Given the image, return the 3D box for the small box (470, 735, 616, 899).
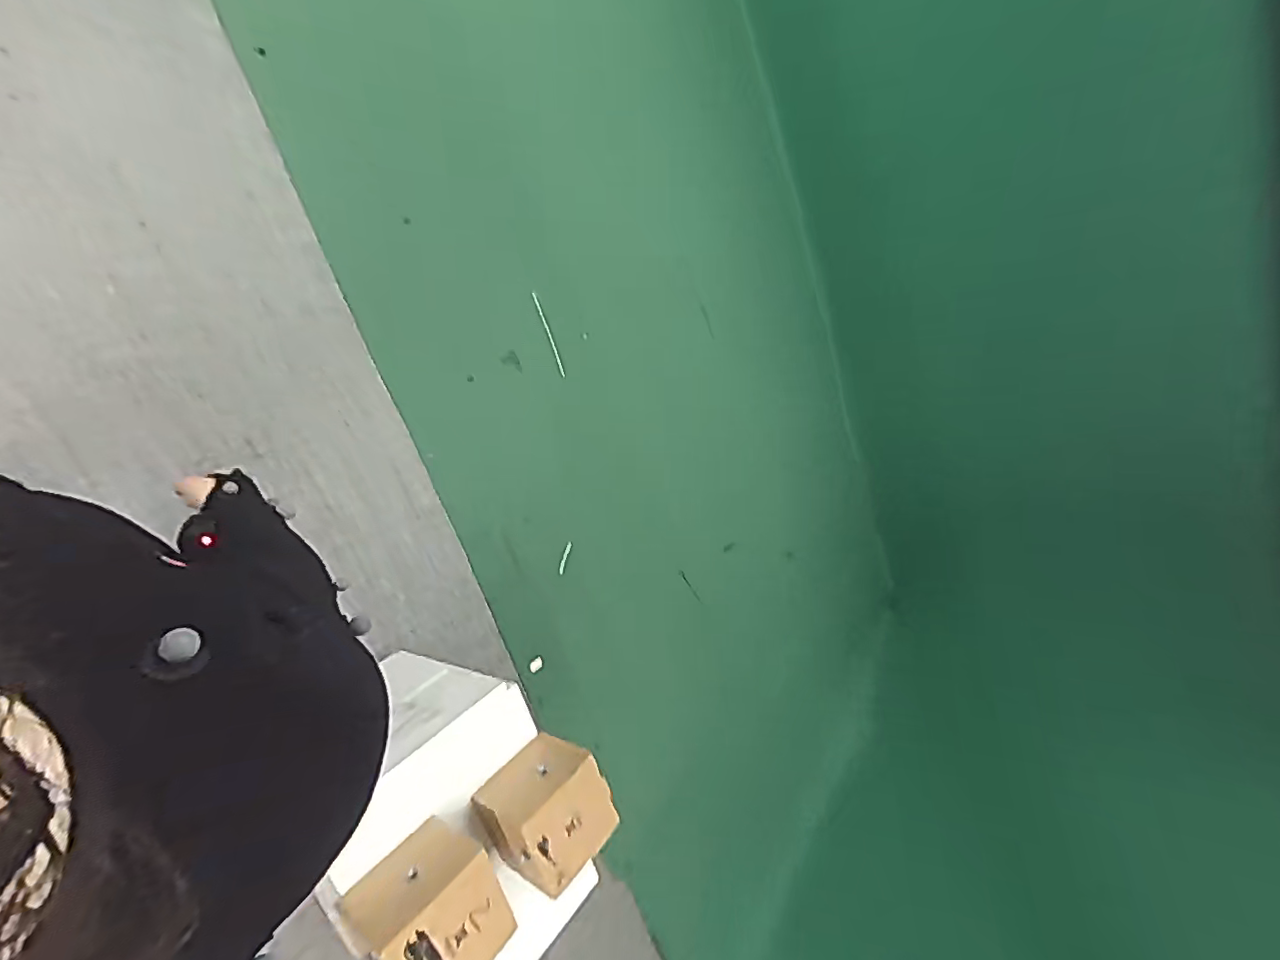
[{"bbox_3d":[-0.181,0.612,1.012,0.179,0.176,0.168,-32,108,-44],"label":"small box"}]
